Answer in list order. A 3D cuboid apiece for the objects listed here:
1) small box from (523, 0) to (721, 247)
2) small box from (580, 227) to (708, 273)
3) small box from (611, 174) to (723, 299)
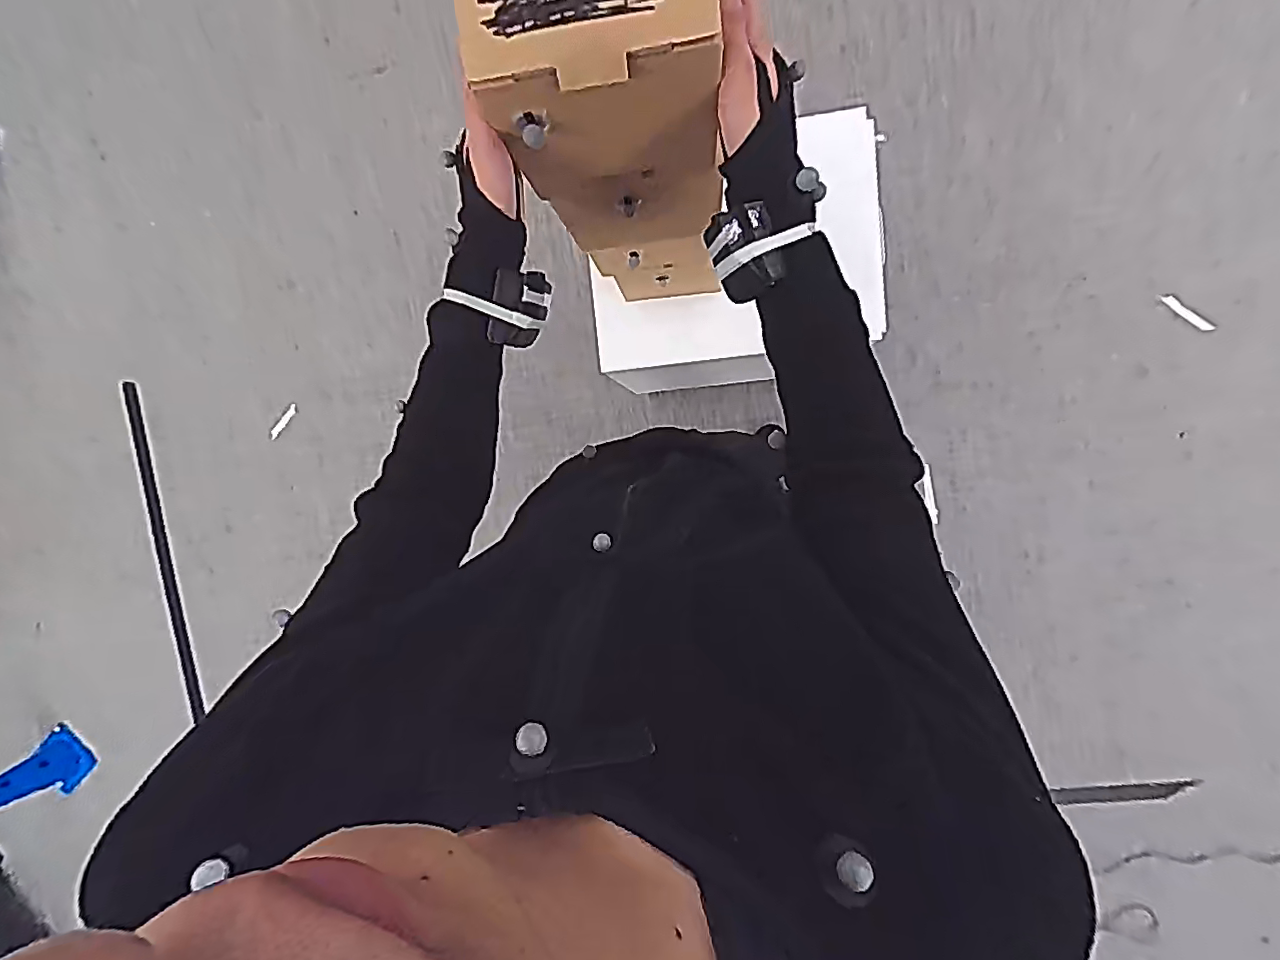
[{"bbox_3d":[-0.008,-0.367,0.578,0.179,0.176,0.168,-5,94,6],"label":"small box"},{"bbox_3d":[0.009,-0.394,0.740,0.168,0.176,0.179,-2,94,6],"label":"small box"},{"bbox_3d":[0.043,-0.409,0.898,0.179,0.176,0.168,-4,94,5],"label":"small box"}]
